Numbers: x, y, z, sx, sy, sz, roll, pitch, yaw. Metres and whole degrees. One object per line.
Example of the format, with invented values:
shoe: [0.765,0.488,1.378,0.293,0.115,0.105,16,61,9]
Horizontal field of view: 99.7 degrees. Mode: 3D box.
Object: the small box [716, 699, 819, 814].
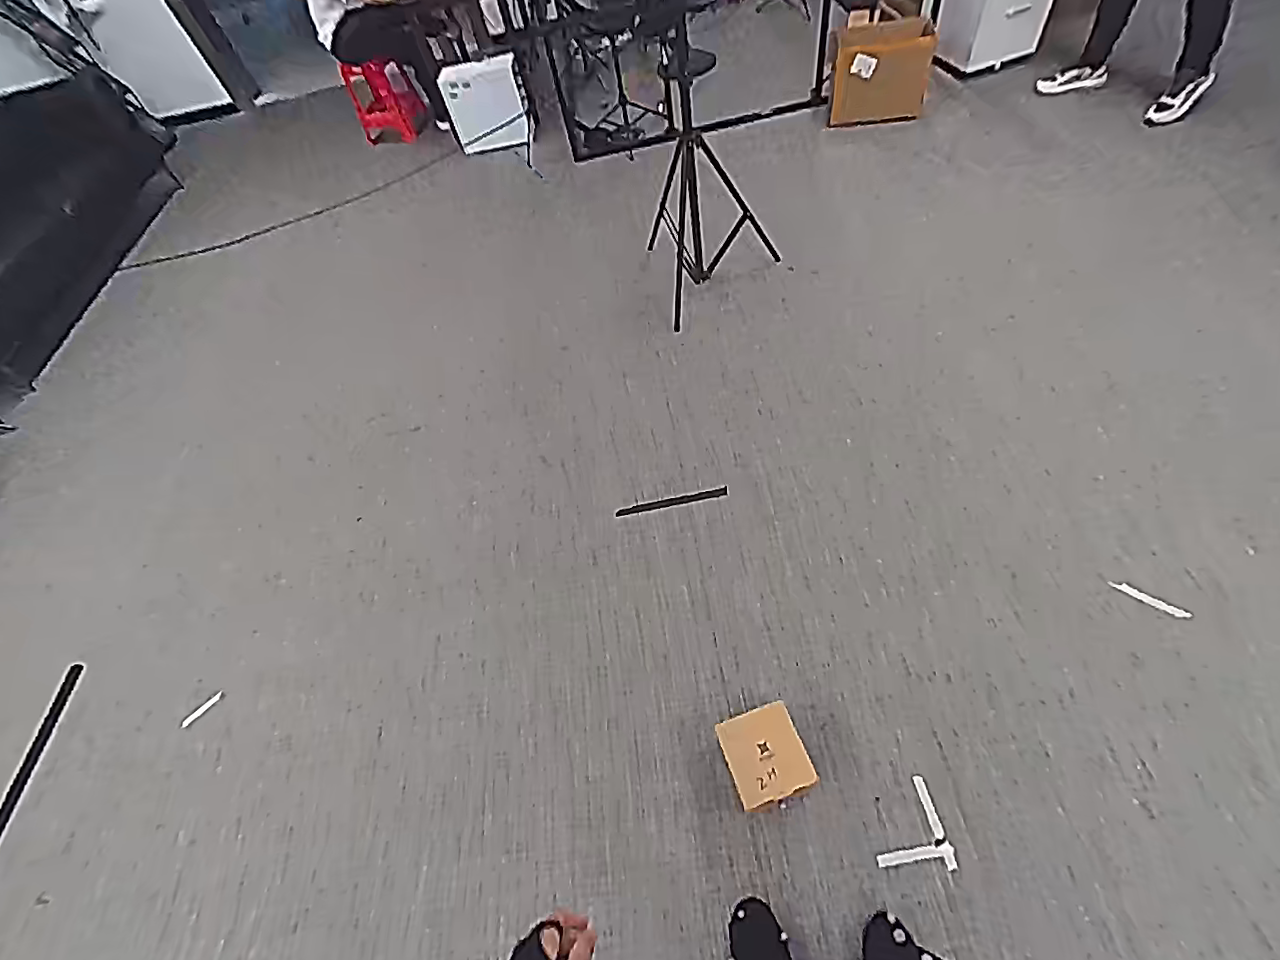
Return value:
small box: [0.279,0.625,1.216,0.168,0.176,0.179,-20,54,-3]
